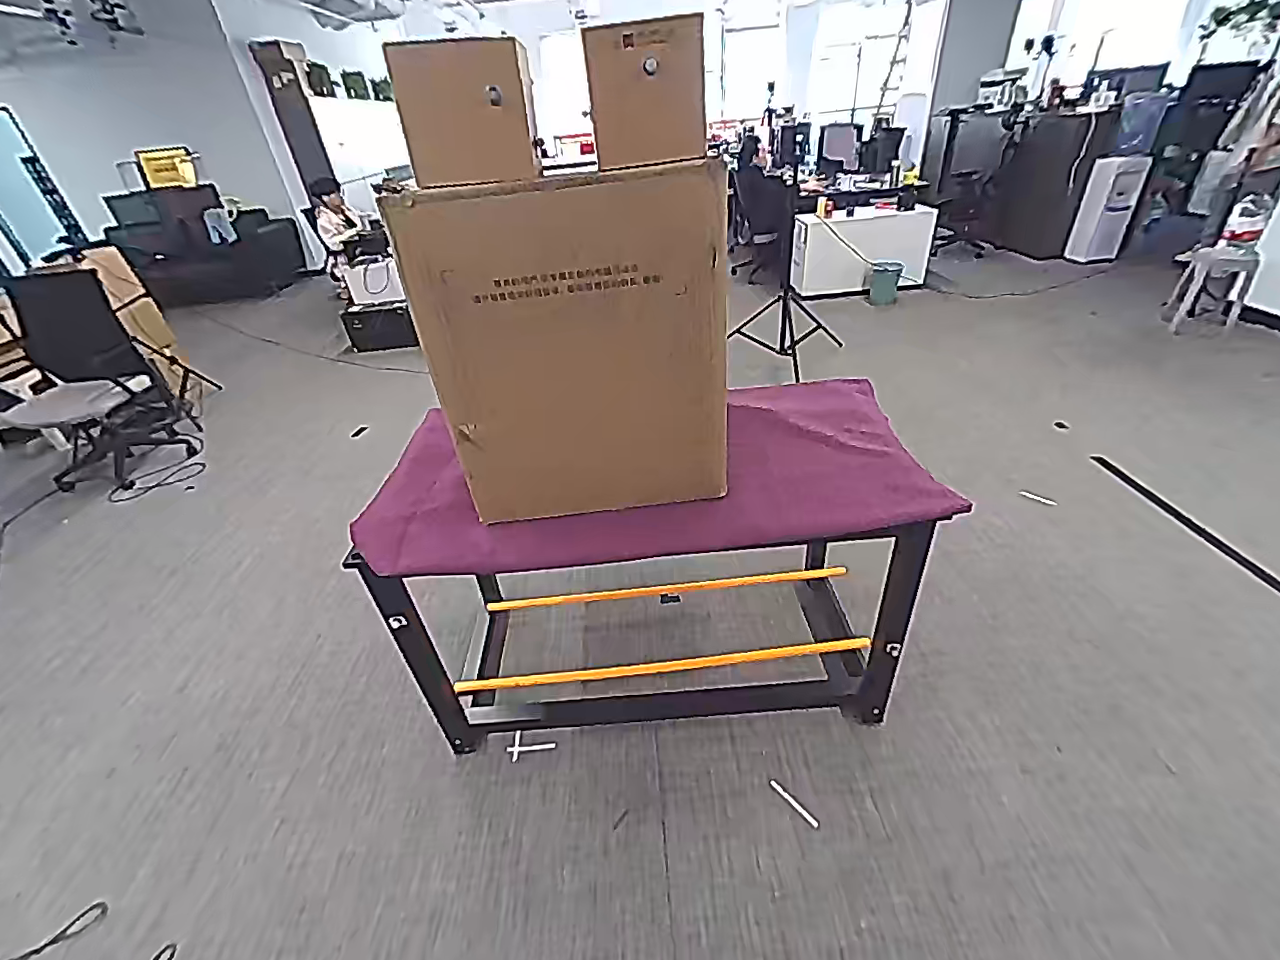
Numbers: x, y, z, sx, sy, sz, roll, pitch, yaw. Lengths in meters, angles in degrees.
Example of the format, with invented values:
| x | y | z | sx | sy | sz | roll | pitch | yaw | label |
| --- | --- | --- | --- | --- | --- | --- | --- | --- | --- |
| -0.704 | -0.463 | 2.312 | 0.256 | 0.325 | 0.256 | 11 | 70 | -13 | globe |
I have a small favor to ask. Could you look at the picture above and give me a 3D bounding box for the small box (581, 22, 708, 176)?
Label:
| x | y | z | sx | sy | sz | roll | pitch | yaw | label |
| --- | --- | --- | --- | --- | --- | --- | --- | --- | --- |
| 0.006 | -0.575 | 0.823 | 0.168 | 0.176 | 0.179 | -8 | 34 | -1 | small box |
